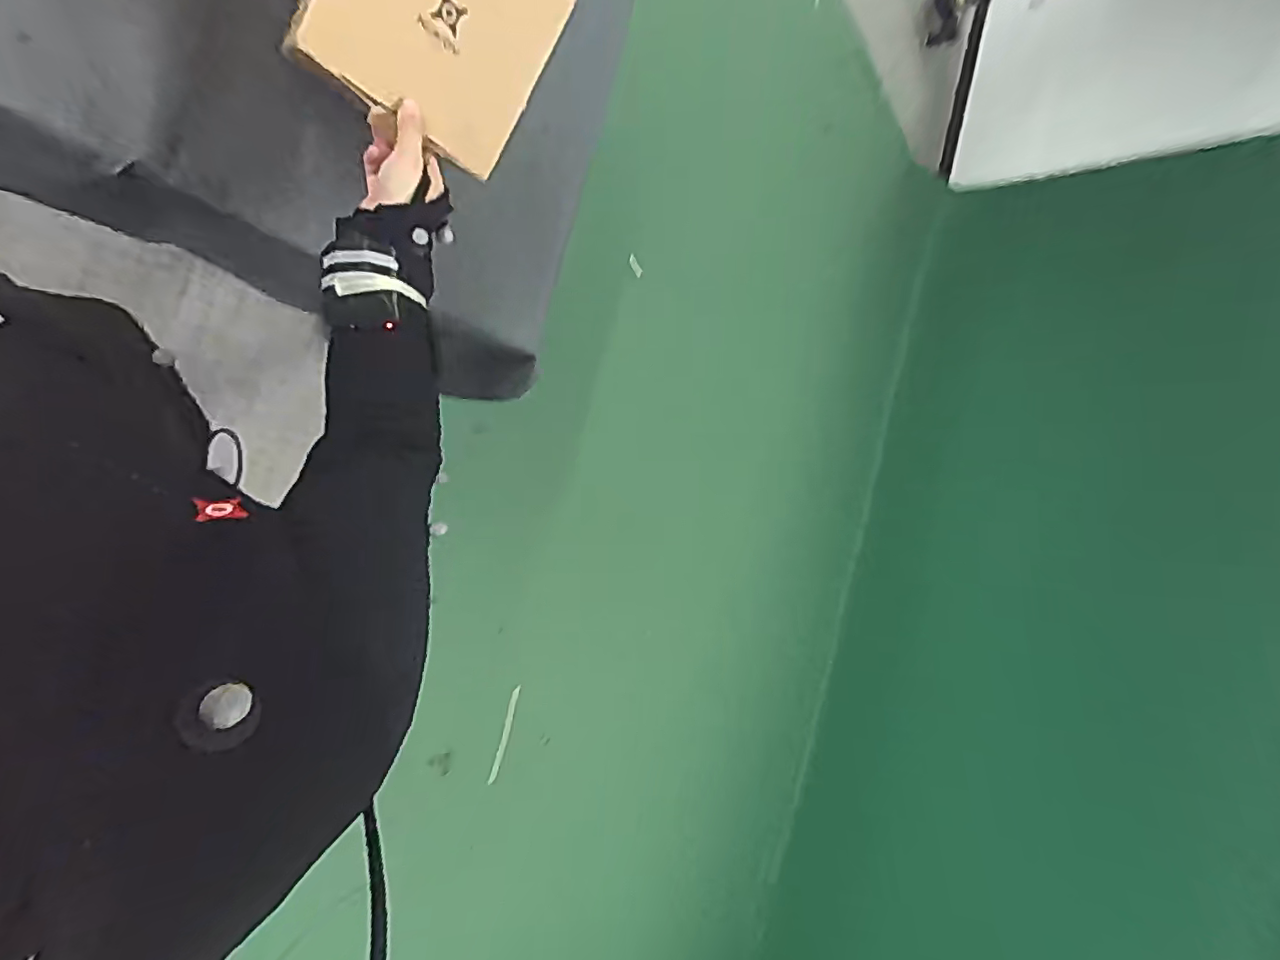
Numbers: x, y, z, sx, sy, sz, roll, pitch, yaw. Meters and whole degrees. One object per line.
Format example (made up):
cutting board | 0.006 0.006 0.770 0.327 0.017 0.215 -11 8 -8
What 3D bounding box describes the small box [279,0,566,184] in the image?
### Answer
small box | -0.203 -0.407 0.487 0.168 0.176 0.179 18 109 -46
